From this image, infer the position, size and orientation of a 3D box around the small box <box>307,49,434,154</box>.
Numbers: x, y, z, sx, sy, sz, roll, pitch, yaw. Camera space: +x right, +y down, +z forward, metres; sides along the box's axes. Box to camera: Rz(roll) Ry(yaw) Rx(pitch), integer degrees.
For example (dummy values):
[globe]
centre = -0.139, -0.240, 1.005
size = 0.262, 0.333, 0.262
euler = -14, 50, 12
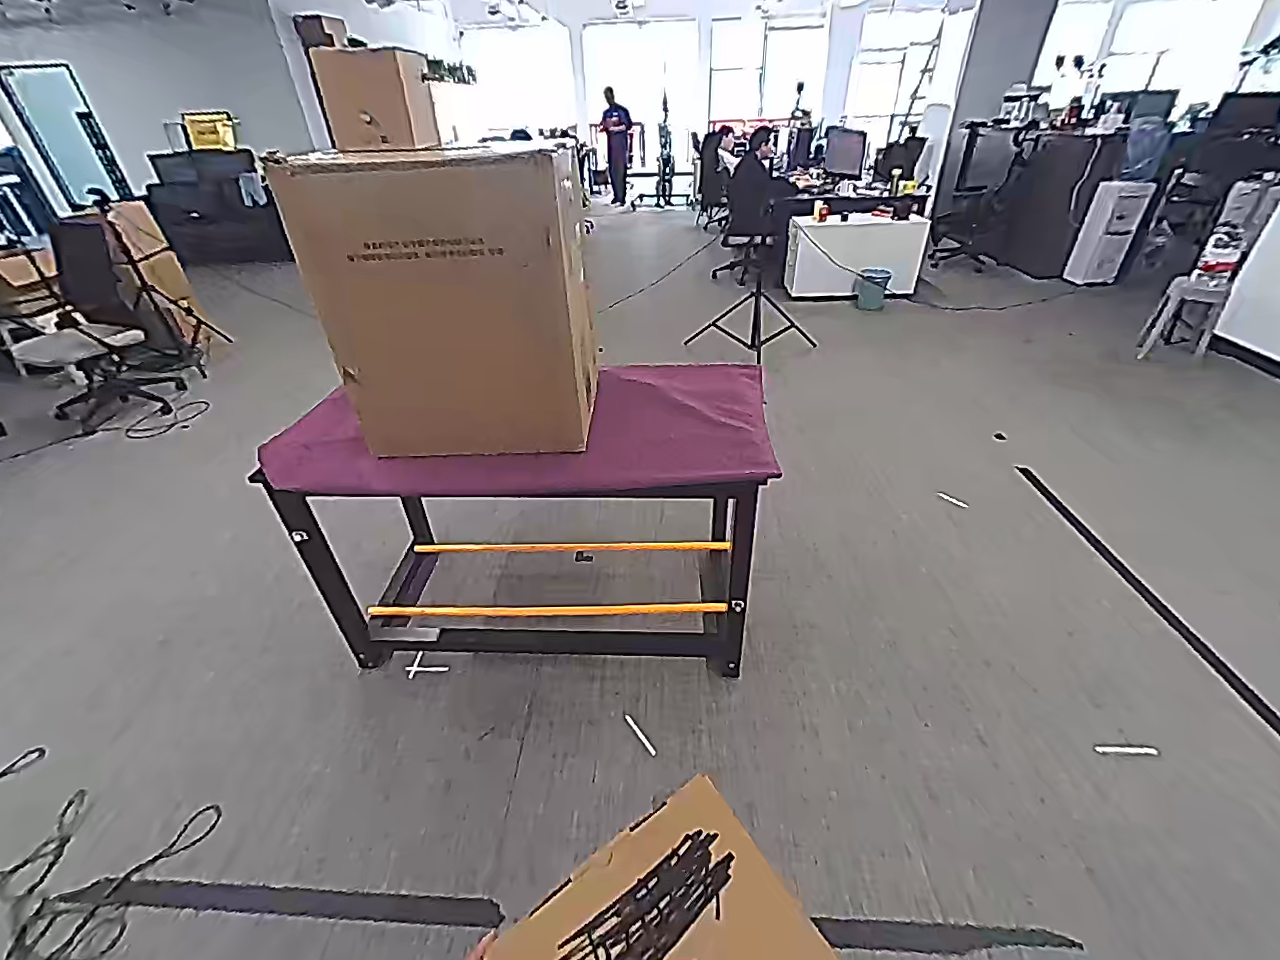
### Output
[small box]
centre = -0.546, -0.784, 1.128
size = 0.168, 0.176, 0.179
euler = -1, 35, 1
